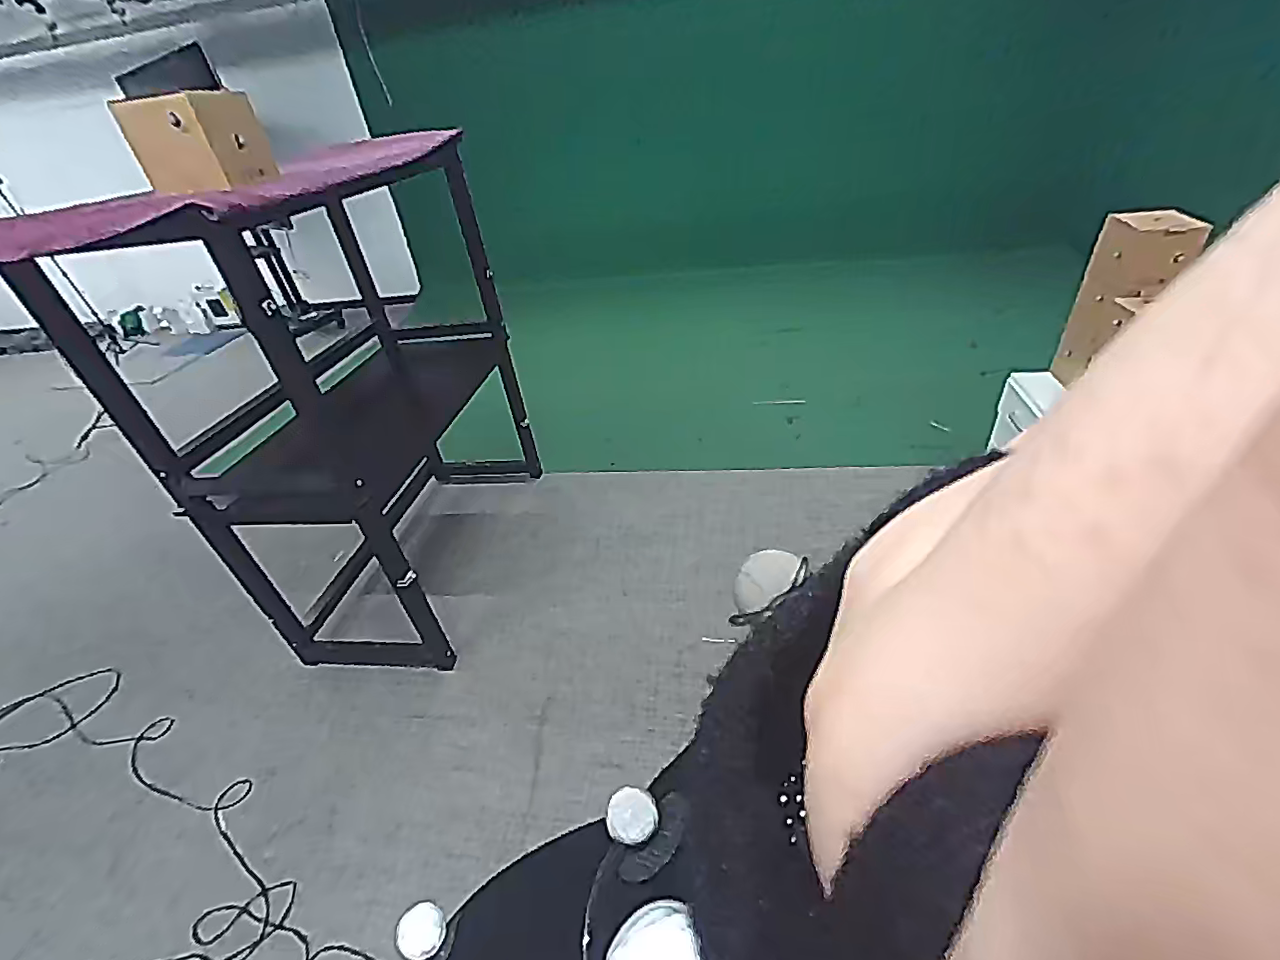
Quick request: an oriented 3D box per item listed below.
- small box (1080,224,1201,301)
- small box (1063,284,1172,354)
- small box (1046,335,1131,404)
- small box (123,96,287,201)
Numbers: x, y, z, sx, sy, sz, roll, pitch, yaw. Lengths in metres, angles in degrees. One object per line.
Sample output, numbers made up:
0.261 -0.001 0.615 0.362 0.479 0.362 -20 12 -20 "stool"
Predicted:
1.417 -0.618 1.545 0.168 0.176 0.179 1 38 9 "small box"
1.435 -0.490 1.643 0.168 0.176 0.179 1 38 11 "small box"
1.455 -0.358 1.739 0.168 0.176 0.179 0 38 10 "small box"
-0.897 -0.698 1.138 0.179 0.176 0.168 -1 34 8 "small box"
